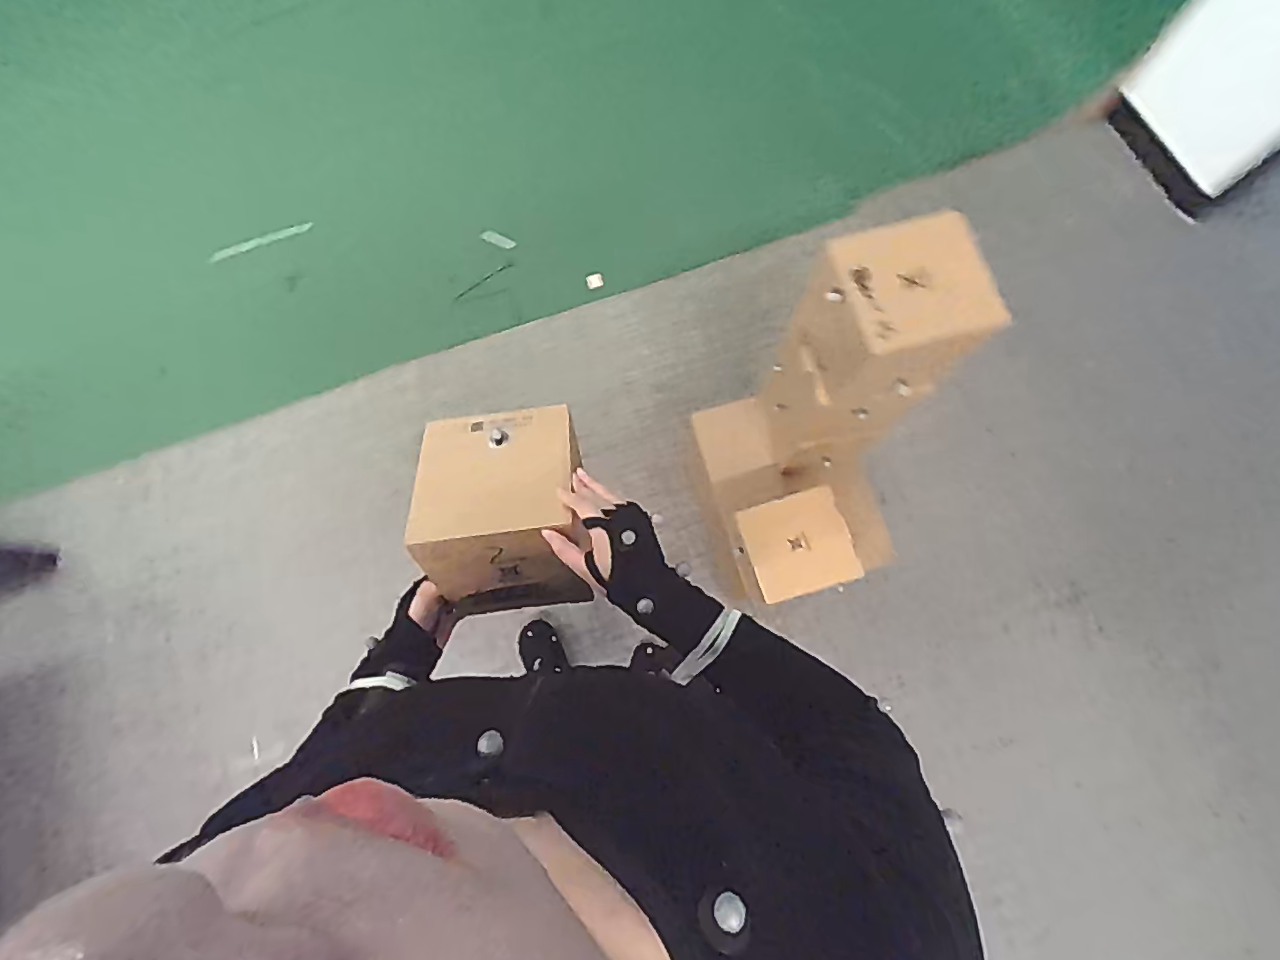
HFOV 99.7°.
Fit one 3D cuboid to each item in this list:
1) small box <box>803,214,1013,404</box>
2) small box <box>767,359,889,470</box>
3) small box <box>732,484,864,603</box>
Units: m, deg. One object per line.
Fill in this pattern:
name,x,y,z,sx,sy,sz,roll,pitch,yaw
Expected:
small box,0.346,-0.222,0.738,0.179,0.176,0.168,-13,75,-1
small box,0.354,-0.131,1.055,0.168,0.176,0.179,-9,76,1
small box,0.274,0.125,0.993,0.179,0.176,0.168,-16,76,-1
